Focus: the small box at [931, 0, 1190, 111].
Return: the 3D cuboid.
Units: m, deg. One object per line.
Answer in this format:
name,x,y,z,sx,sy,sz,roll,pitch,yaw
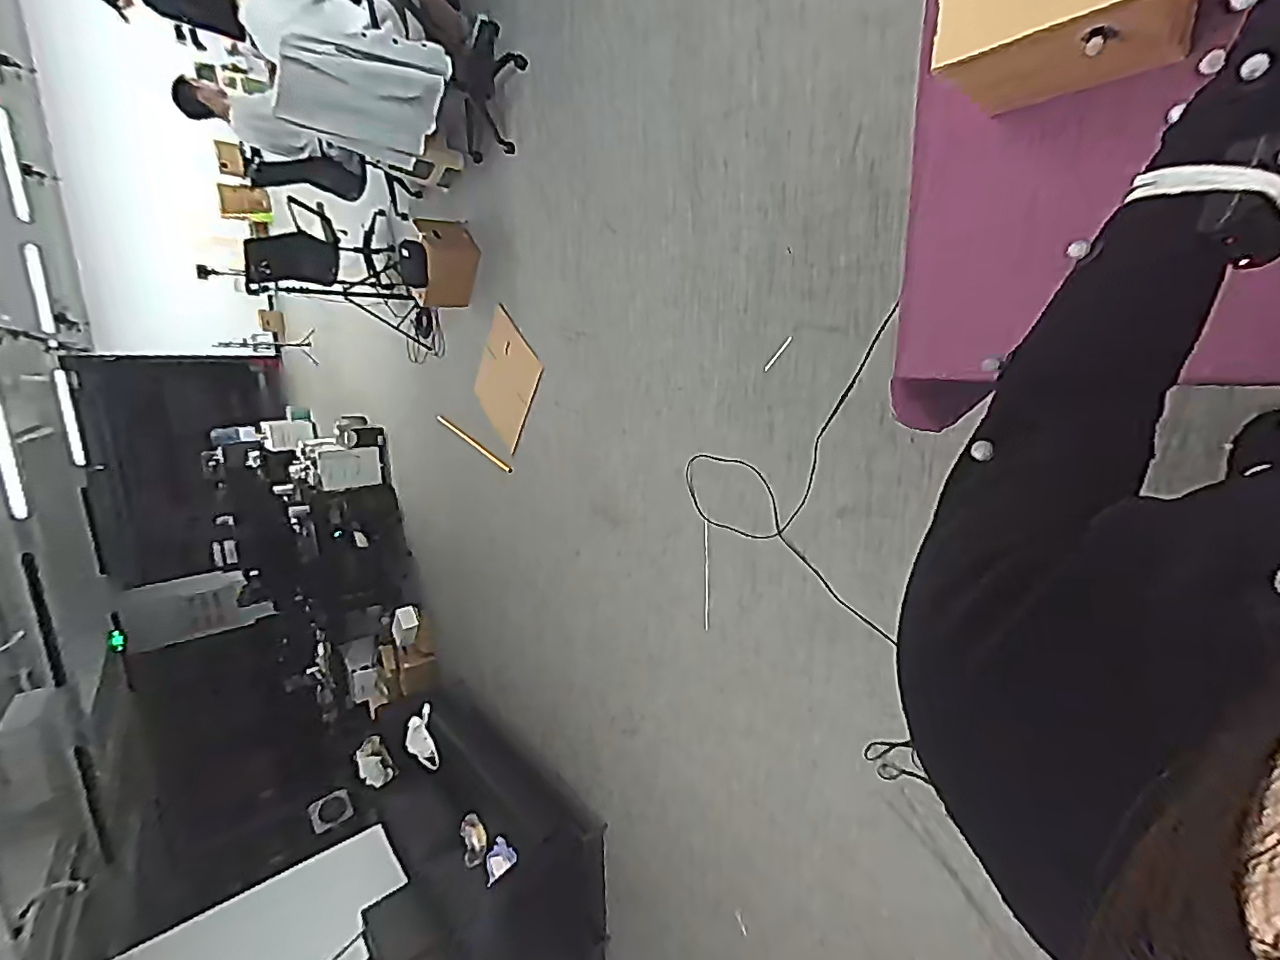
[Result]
small box,0.419,-0.496,0.526,0.179,0.176,0.168,17,110,48
